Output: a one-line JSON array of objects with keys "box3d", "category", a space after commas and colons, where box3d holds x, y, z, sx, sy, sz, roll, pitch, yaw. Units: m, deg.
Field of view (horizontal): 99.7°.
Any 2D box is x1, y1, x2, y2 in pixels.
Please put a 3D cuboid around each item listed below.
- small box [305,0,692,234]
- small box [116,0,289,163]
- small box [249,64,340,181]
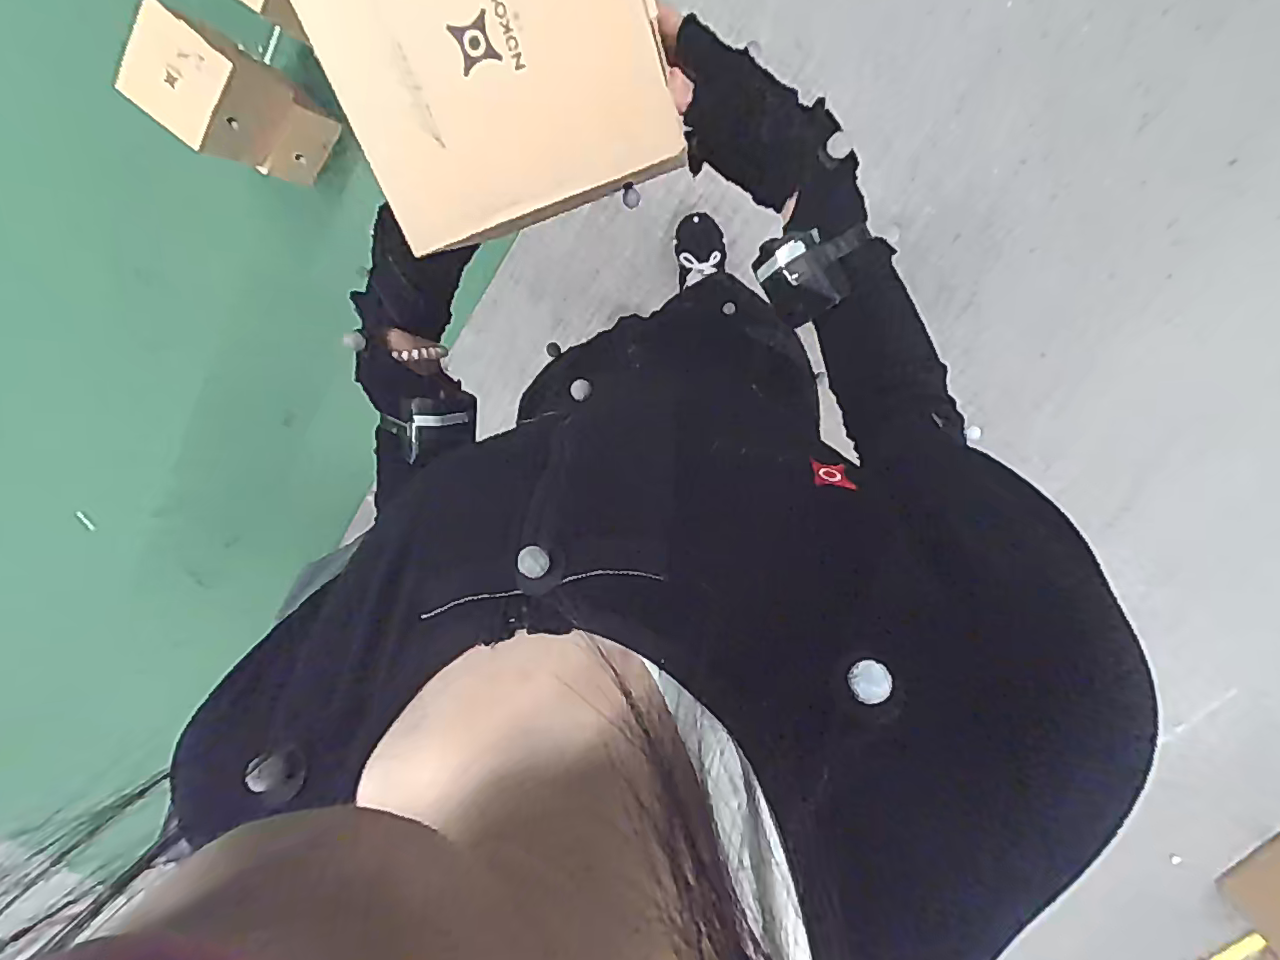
[{"box3d": [-0.074, -0.273, 0.344, 0.179, 0.176, 0.168, -15, 115, 11], "category": "small box"}, {"box3d": [-0.824, -0.748, 1.036, 0.168, 0.176, 0.179, 39, 108, -10], "category": "small box"}, {"box3d": [-0.812, -0.792, 1.195, 0.179, 0.176, 0.168, 40, 108, -11], "category": "small box"}]
